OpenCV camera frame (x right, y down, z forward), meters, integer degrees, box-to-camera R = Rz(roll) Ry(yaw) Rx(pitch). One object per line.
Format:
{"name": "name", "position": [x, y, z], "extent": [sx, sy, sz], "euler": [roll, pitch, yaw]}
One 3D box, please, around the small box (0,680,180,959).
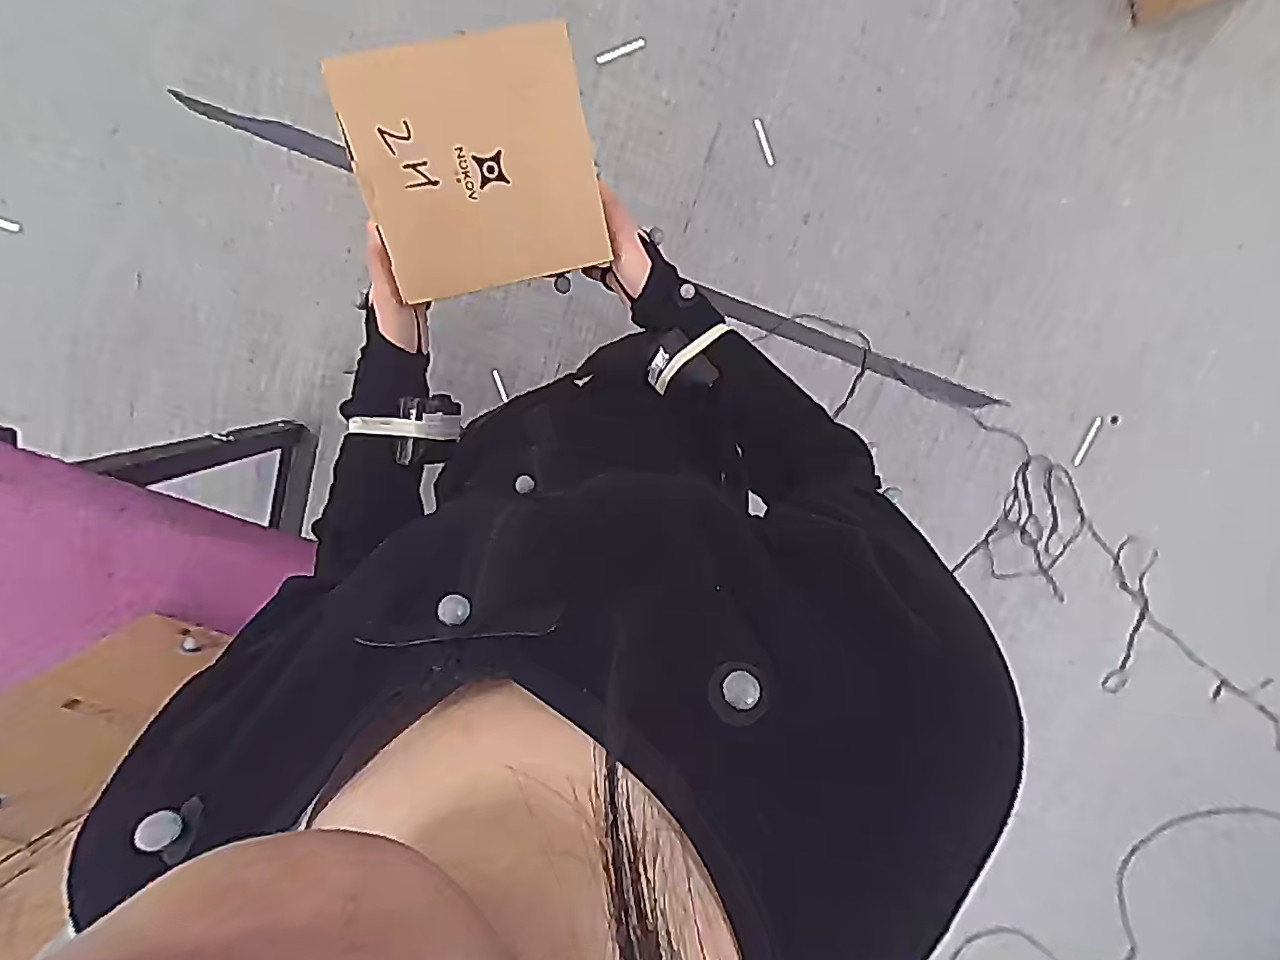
{"name": "small box", "position": [-0.620, 0.342, 0.544], "extent": [0.168, 0.176, 0.179], "euler": [23, 101, -8]}

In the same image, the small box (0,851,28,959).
{"name": "small box", "position": [-0.610, 0.372, 0.383], "extent": [0.168, 0.176, 0.179], "euler": [22, 101, -8]}

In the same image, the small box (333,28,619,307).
{"name": "small box", "position": [-0.129, -0.260, 0.482], "extent": [0.179, 0.176, 0.168], "euler": [-14, 112, -5]}

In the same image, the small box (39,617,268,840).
{"name": "small box", "position": [-0.629, 0.311, 0.704], "extent": [0.168, 0.176, 0.179], "euler": [20, 101, -8]}
